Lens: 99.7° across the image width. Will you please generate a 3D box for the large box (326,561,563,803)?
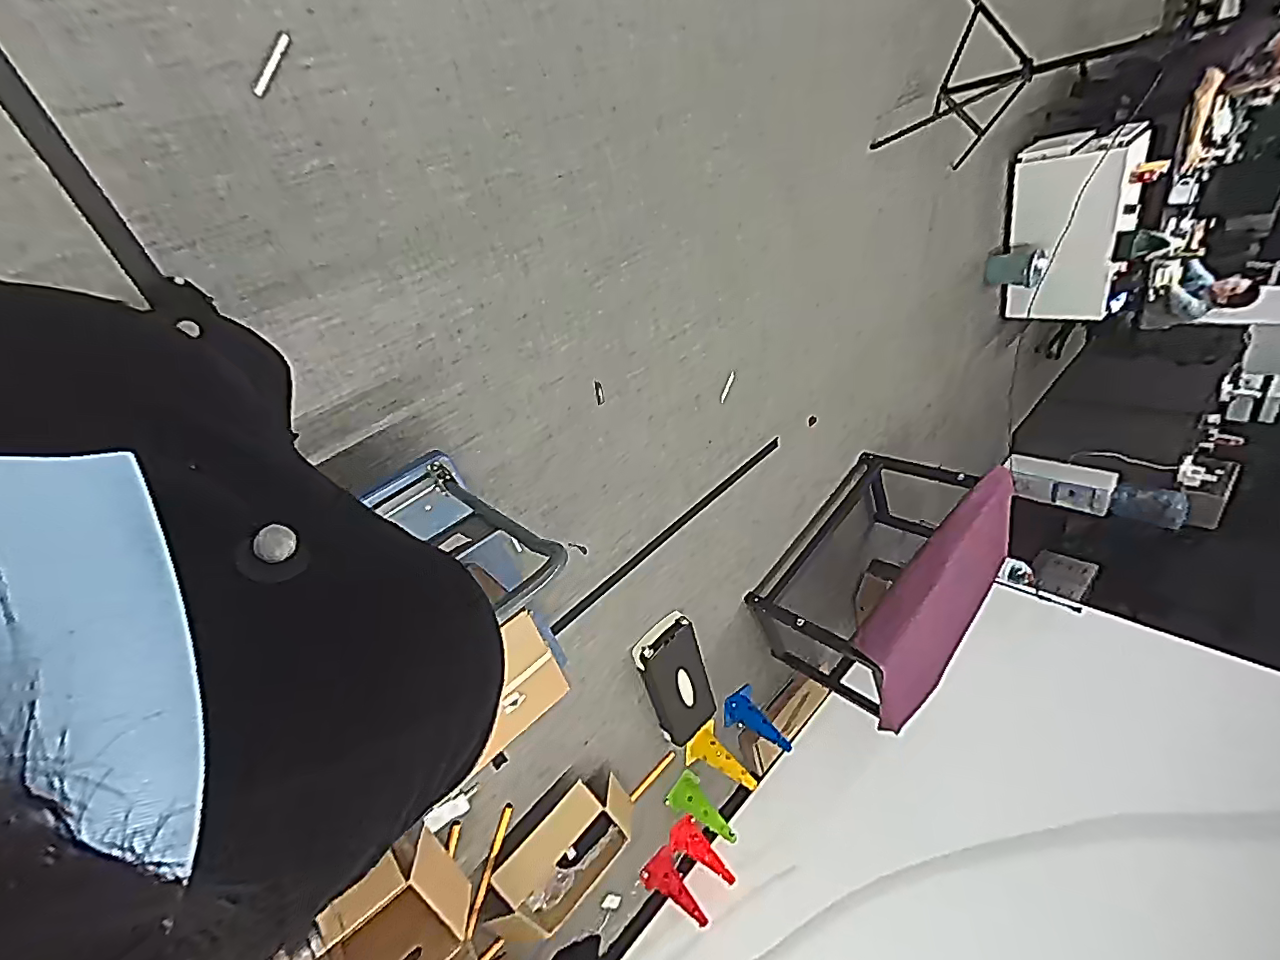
[{"bbox_3d":[-0.476,0.476,1.348,0.408,0.320,0.320,-37,127,-28],"label":"large box"}]
